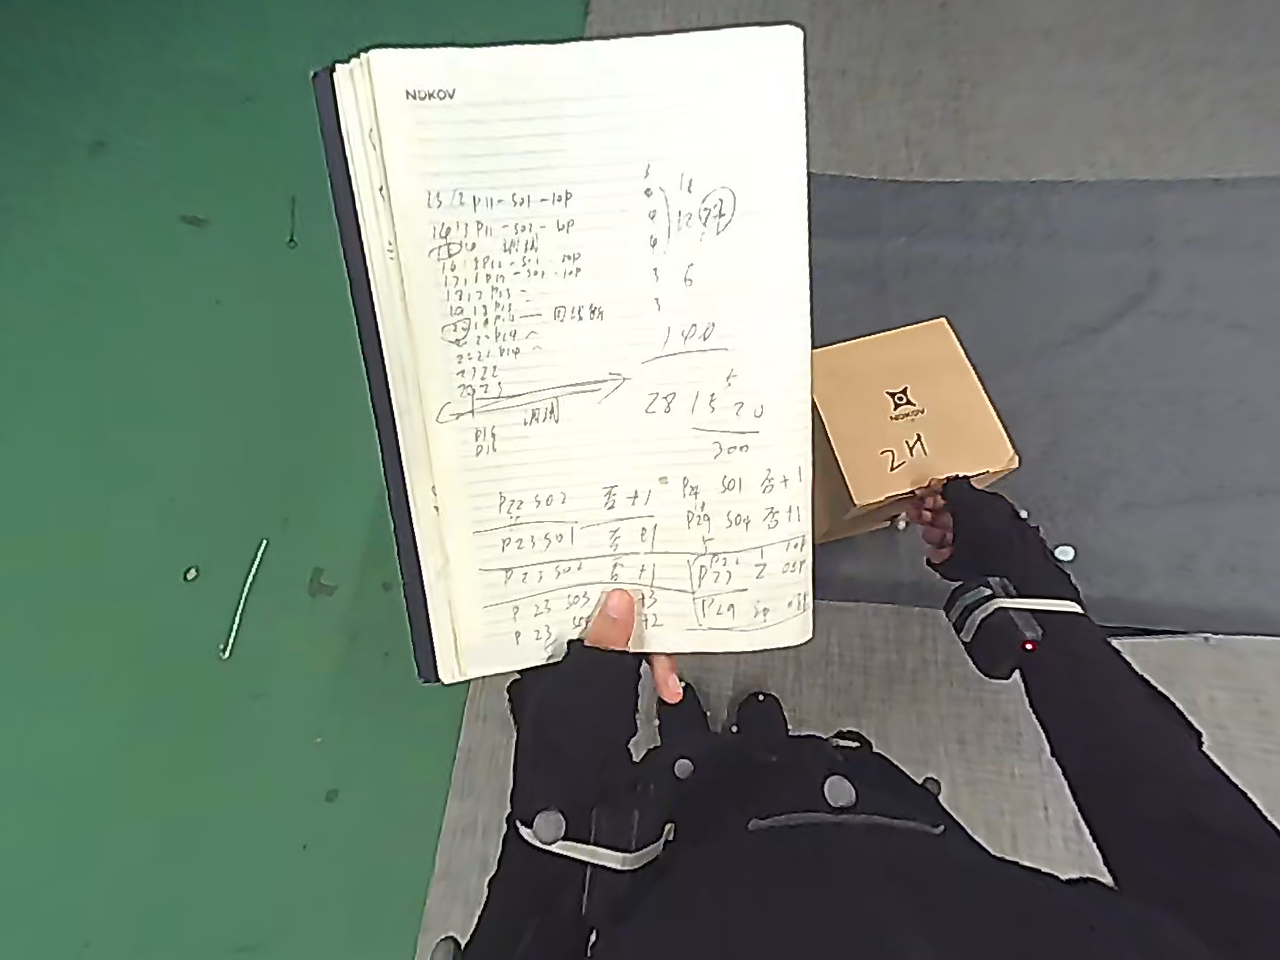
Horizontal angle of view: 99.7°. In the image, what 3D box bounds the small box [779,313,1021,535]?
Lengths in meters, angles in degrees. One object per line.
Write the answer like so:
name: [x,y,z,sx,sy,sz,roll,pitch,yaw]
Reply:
small box: [0.271,-0.054,0.617,0.168,0.176,0.179,-14,71,0]
